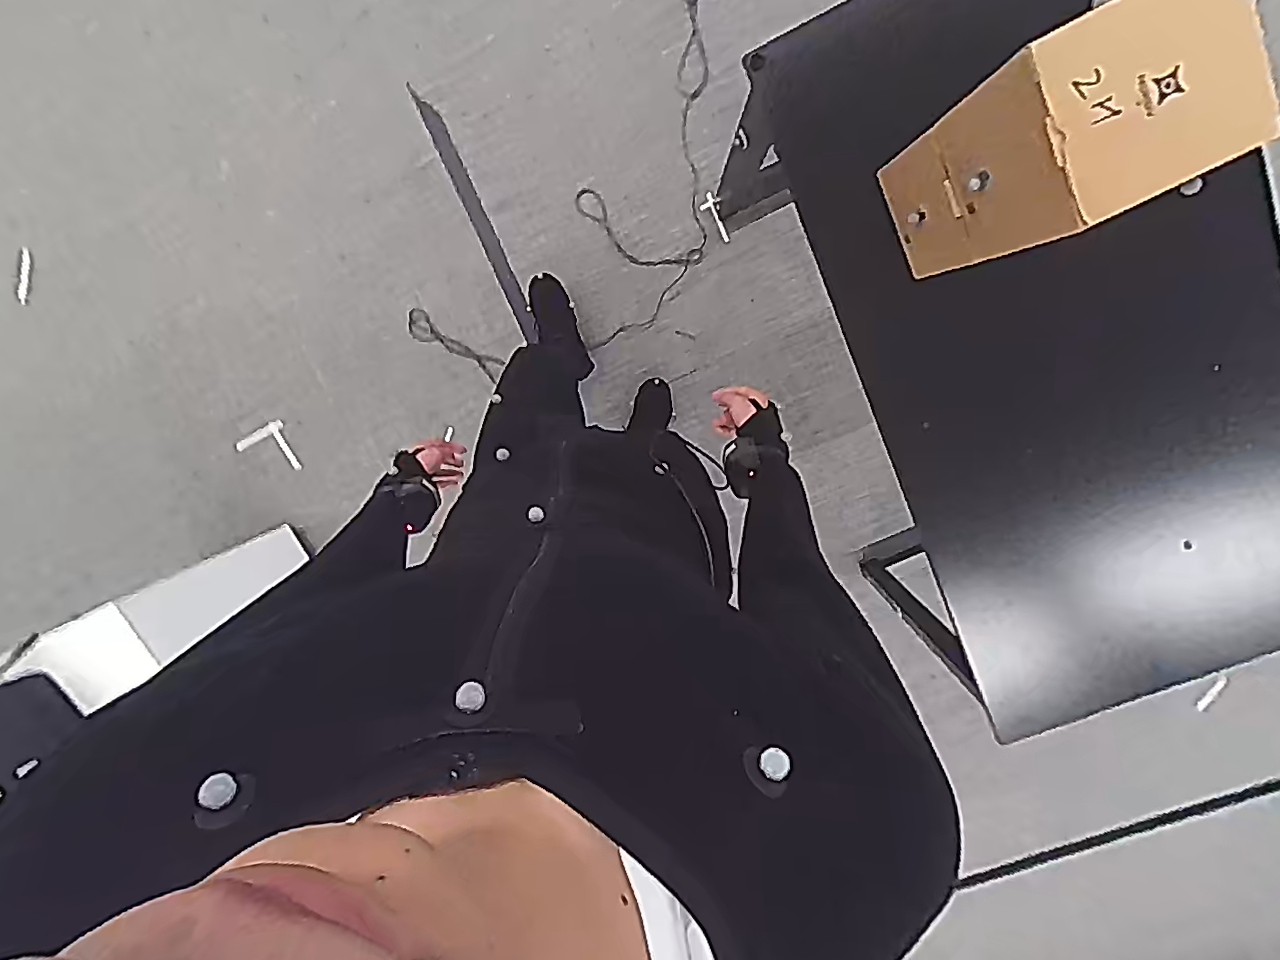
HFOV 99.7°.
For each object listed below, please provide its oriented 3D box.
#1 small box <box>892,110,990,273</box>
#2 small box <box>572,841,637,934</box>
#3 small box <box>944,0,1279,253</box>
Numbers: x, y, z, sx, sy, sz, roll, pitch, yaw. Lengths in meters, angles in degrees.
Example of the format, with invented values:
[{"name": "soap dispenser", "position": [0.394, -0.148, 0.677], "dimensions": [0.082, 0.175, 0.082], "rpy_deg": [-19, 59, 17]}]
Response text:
[{"name": "small box", "position": [0.450, -0.387, 0.693], "dimensions": [0.179, 0.176, 0.168], "rpy_deg": [-26, 101, 8]}, {"name": "small box", "position": [-0.116, 1.415, 1.887], "dimensions": [0.168, 0.176, 0.179], "rpy_deg": [-25, 100, 7]}, {"name": "small box", "position": [0.445, -0.351, 0.532], "dimensions": [0.179, 0.176, 0.168], "rpy_deg": [-25, 100, 8]}]
